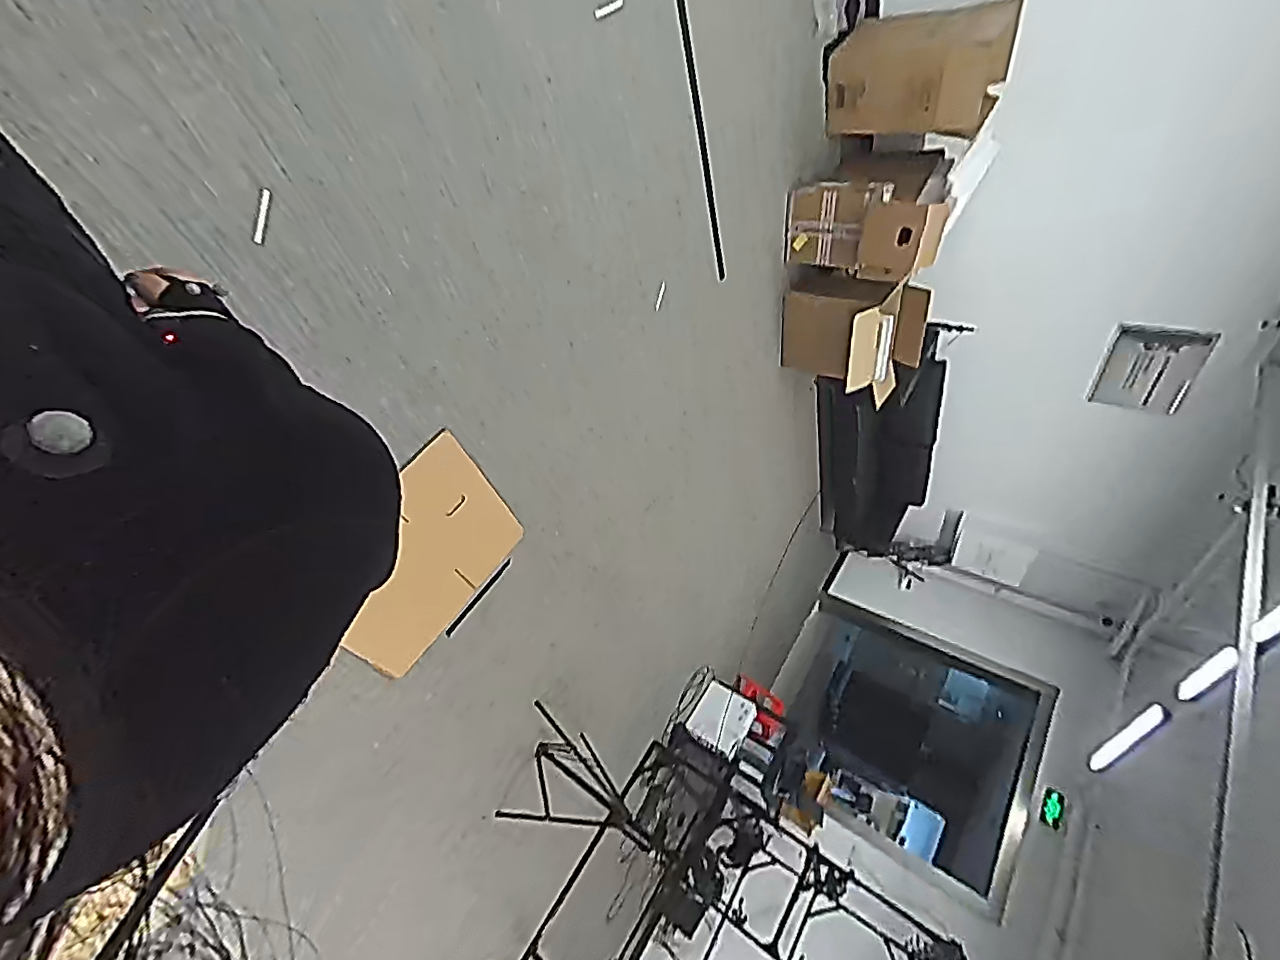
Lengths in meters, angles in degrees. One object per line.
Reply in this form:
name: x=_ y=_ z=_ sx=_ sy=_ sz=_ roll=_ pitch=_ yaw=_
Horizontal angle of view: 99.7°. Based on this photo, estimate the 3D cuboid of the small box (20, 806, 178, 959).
small box: x=-1.006 y=0.757 z=1.007 sx=0.179 sy=0.176 sz=0.168 roll=2 pitch=104 yaw=-55
